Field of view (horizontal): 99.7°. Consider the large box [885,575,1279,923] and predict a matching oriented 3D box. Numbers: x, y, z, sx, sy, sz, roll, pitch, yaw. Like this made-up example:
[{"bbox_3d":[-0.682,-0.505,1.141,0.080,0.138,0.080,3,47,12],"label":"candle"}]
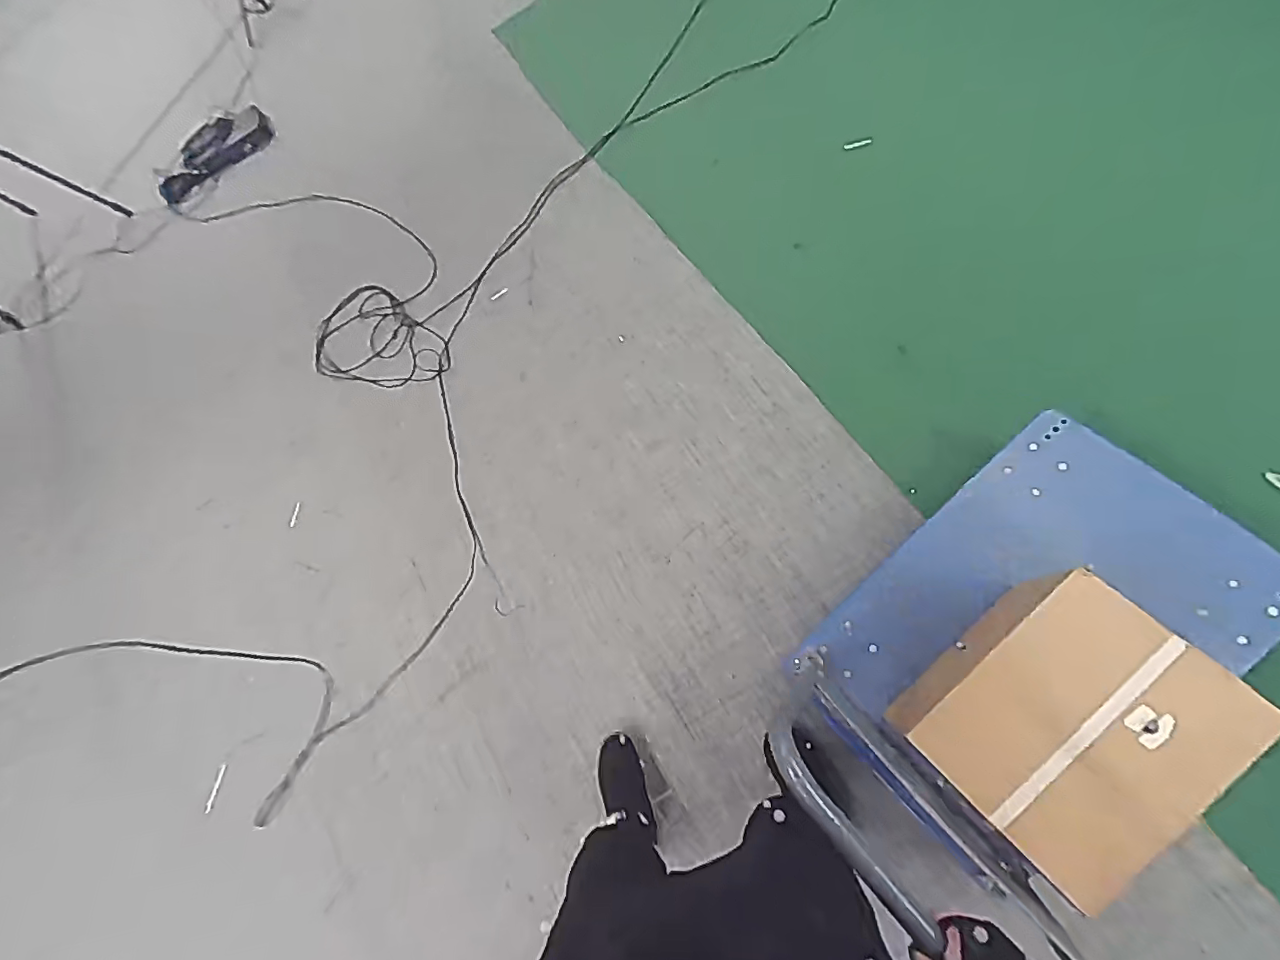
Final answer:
[{"bbox_3d":[0.712,0.437,0.958,0.408,0.320,0.320,-44,67,-1],"label":"large box"}]
